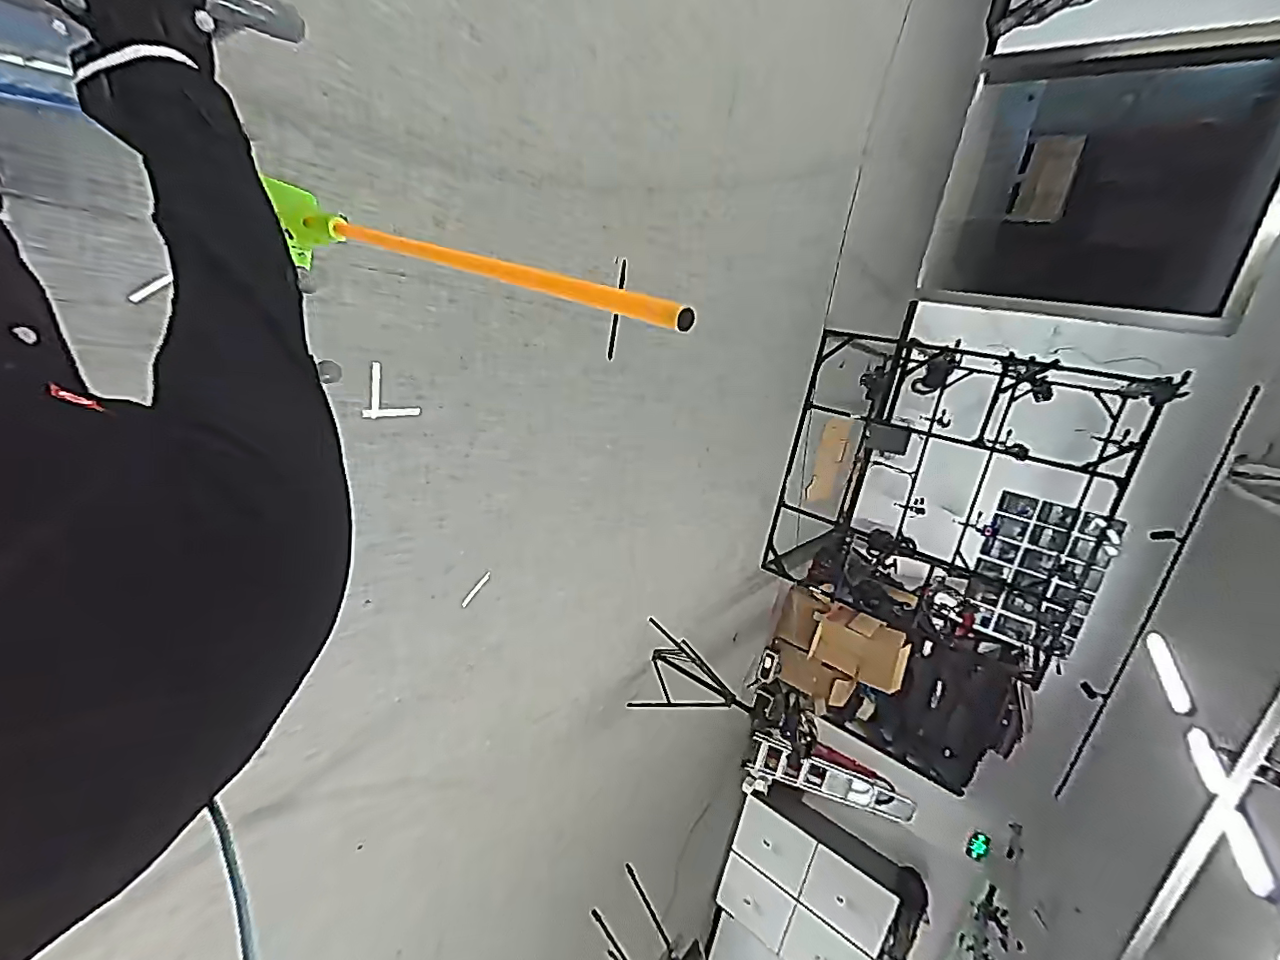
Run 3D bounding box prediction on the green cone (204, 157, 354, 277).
[{"bbox_3d":[-0.705,-0.523,1.109,0.202,0.368,0.200,-4,110,-56],"label":"green cone"}]
